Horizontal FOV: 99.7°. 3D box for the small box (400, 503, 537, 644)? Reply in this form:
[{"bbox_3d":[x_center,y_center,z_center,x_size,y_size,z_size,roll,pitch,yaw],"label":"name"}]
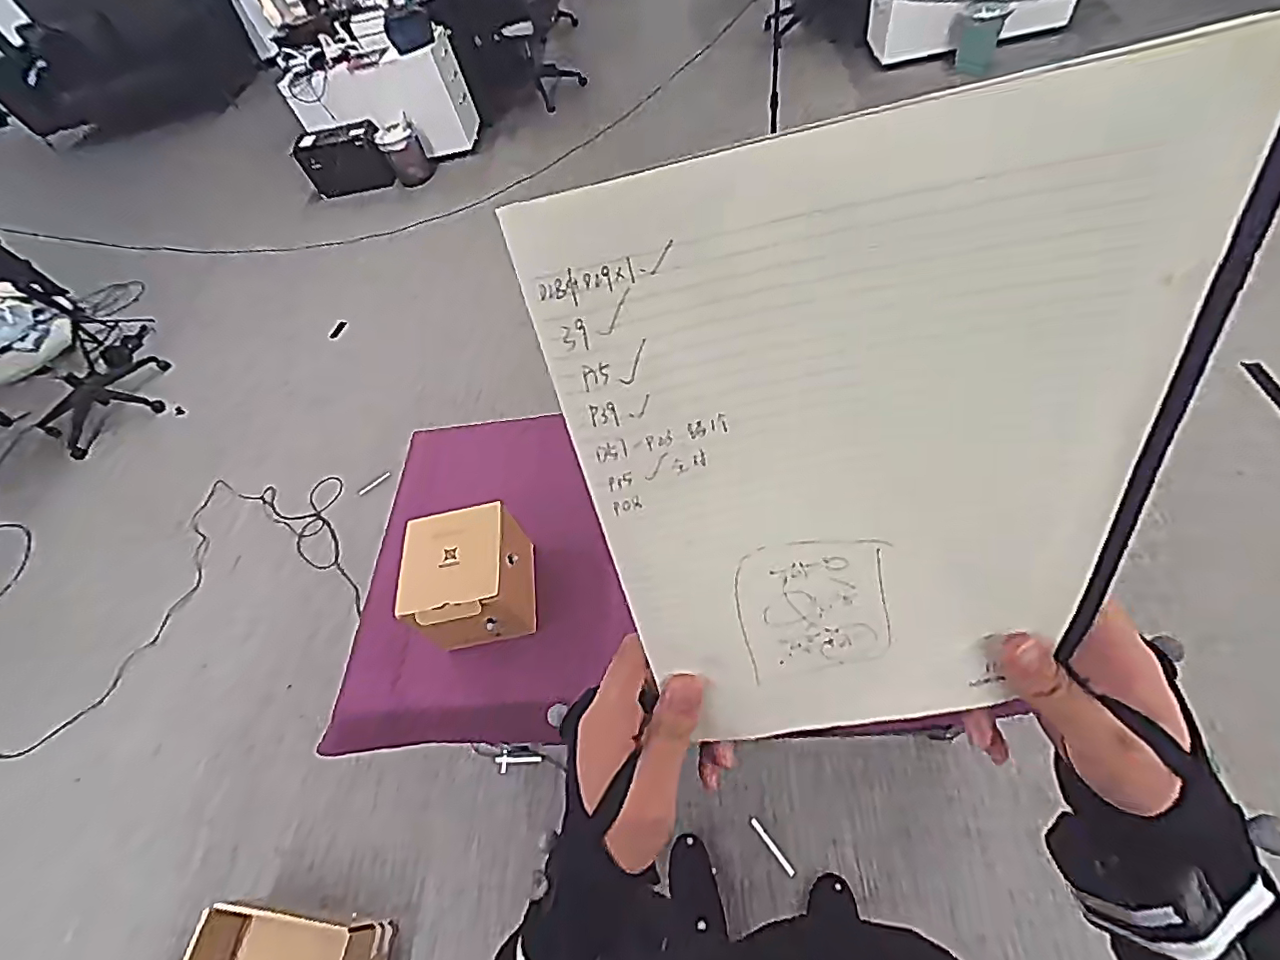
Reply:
[{"bbox_3d":[-0.280,0.168,0.922,0.168,0.176,0.179,-12,55,4],"label":"small box"}]
